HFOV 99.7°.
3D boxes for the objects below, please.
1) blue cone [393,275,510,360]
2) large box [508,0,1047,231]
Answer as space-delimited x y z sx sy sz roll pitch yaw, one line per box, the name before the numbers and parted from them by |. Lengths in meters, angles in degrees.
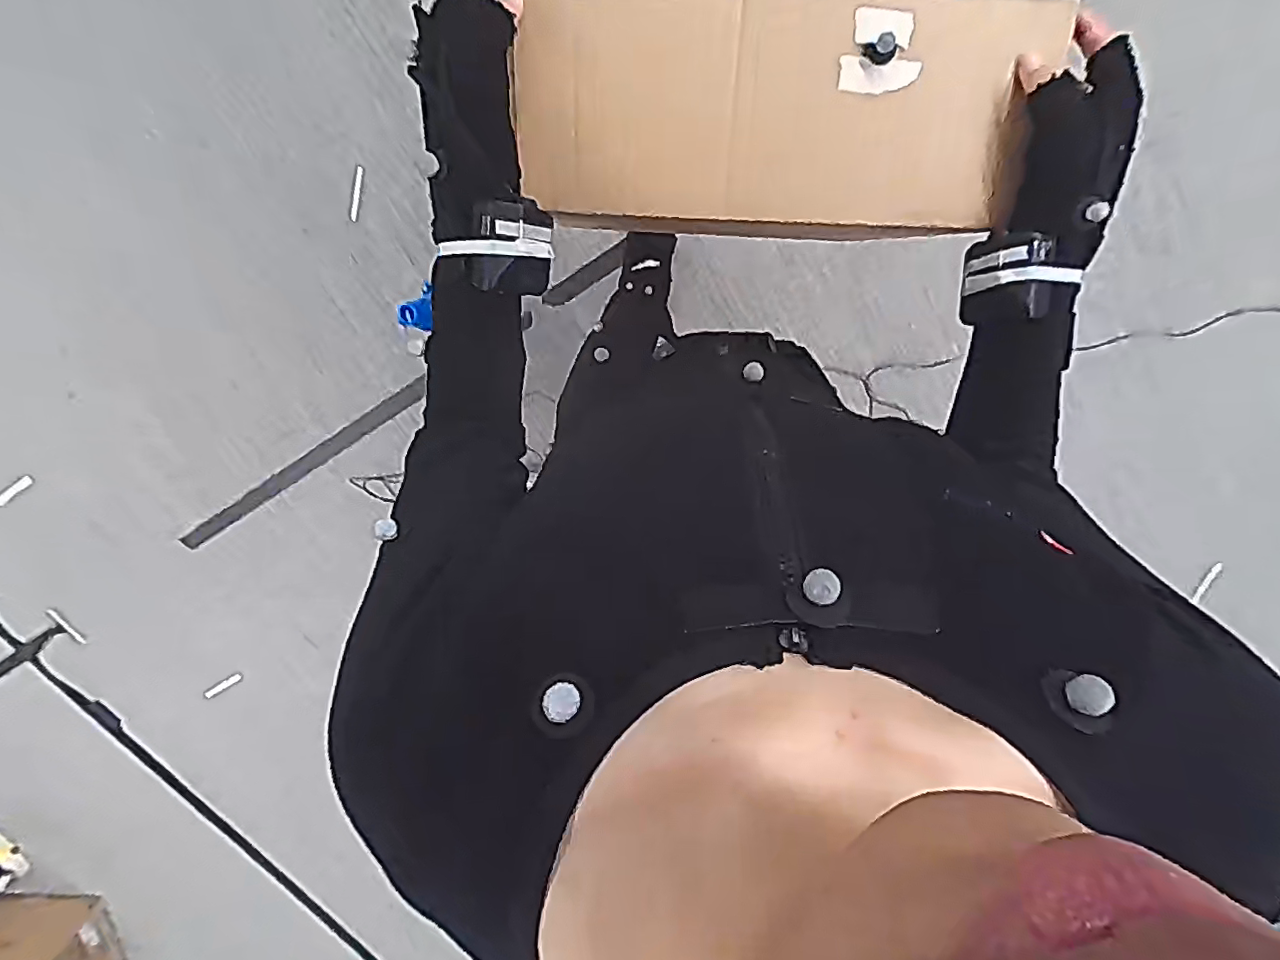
blue cone | -0.445 -0.369 1.228 0.192 0.380 0.193 -10 106 6
large box | 0.098 -0.424 0.526 0.408 0.320 0.320 2 113 -2
